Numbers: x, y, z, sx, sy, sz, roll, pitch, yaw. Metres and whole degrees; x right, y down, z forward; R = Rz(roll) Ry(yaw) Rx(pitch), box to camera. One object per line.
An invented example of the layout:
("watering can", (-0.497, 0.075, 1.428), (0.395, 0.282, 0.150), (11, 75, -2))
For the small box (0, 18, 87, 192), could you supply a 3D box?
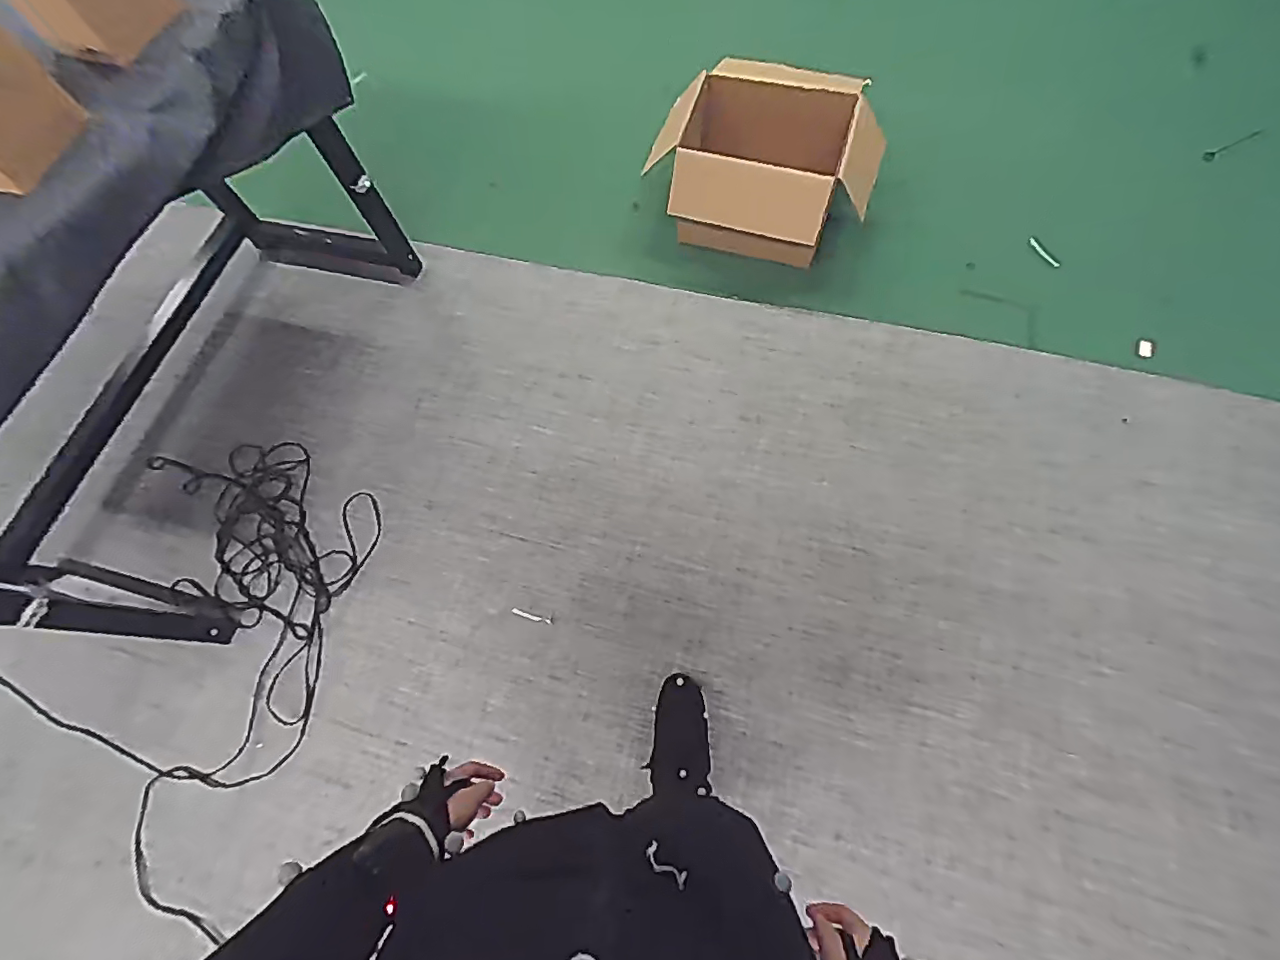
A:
("small box", (-0.987, -0.562, 0.790), (0.168, 0.176, 0.179), (11, 71, 8))
